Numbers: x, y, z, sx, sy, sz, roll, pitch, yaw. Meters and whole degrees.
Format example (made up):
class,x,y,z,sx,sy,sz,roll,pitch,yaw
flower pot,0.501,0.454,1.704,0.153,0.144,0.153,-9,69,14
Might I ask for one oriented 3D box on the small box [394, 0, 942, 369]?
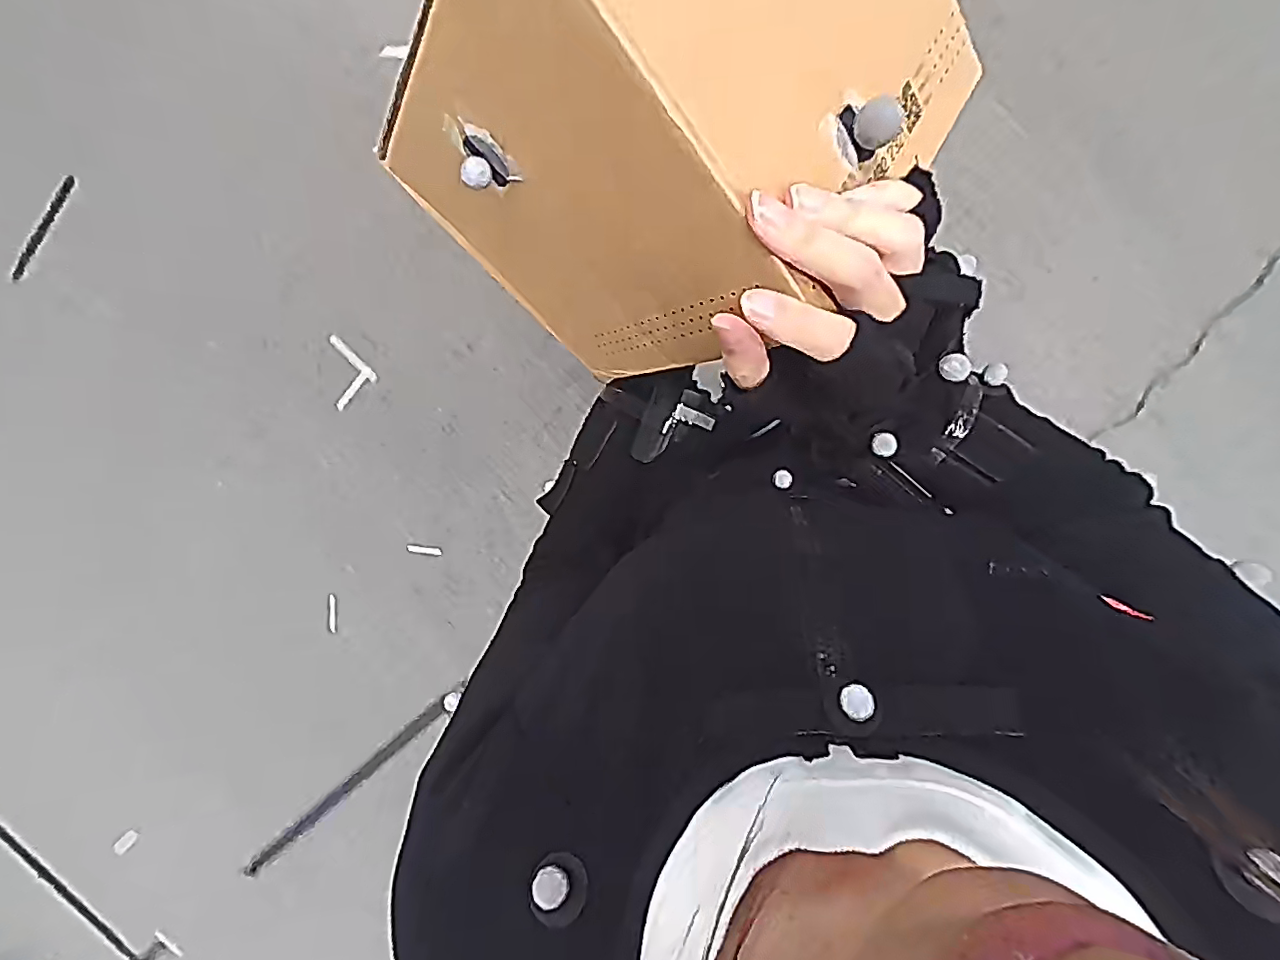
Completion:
class,x,y,z,sx,sy,sz,roll,pitch,yaw
small box,0.011,-0.174,0.276,0.176,0.179,0.168,40,72,-28
